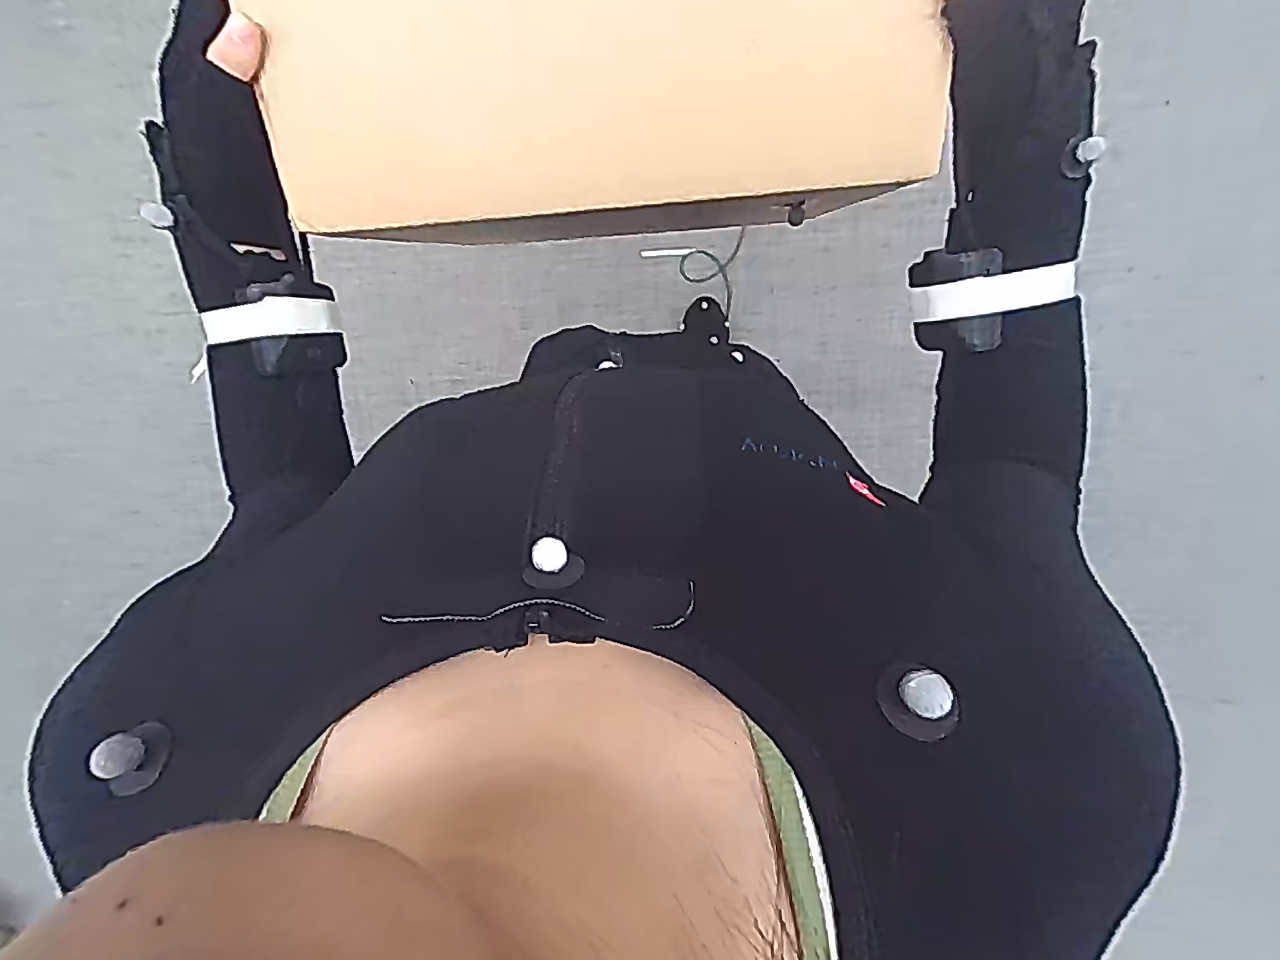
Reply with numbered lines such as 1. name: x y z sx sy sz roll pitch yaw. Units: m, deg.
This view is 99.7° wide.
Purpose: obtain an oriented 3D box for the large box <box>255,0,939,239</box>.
1. large box: -0.023 -0.380 0.432 0.408 0.320 0.320 -2 111 5
